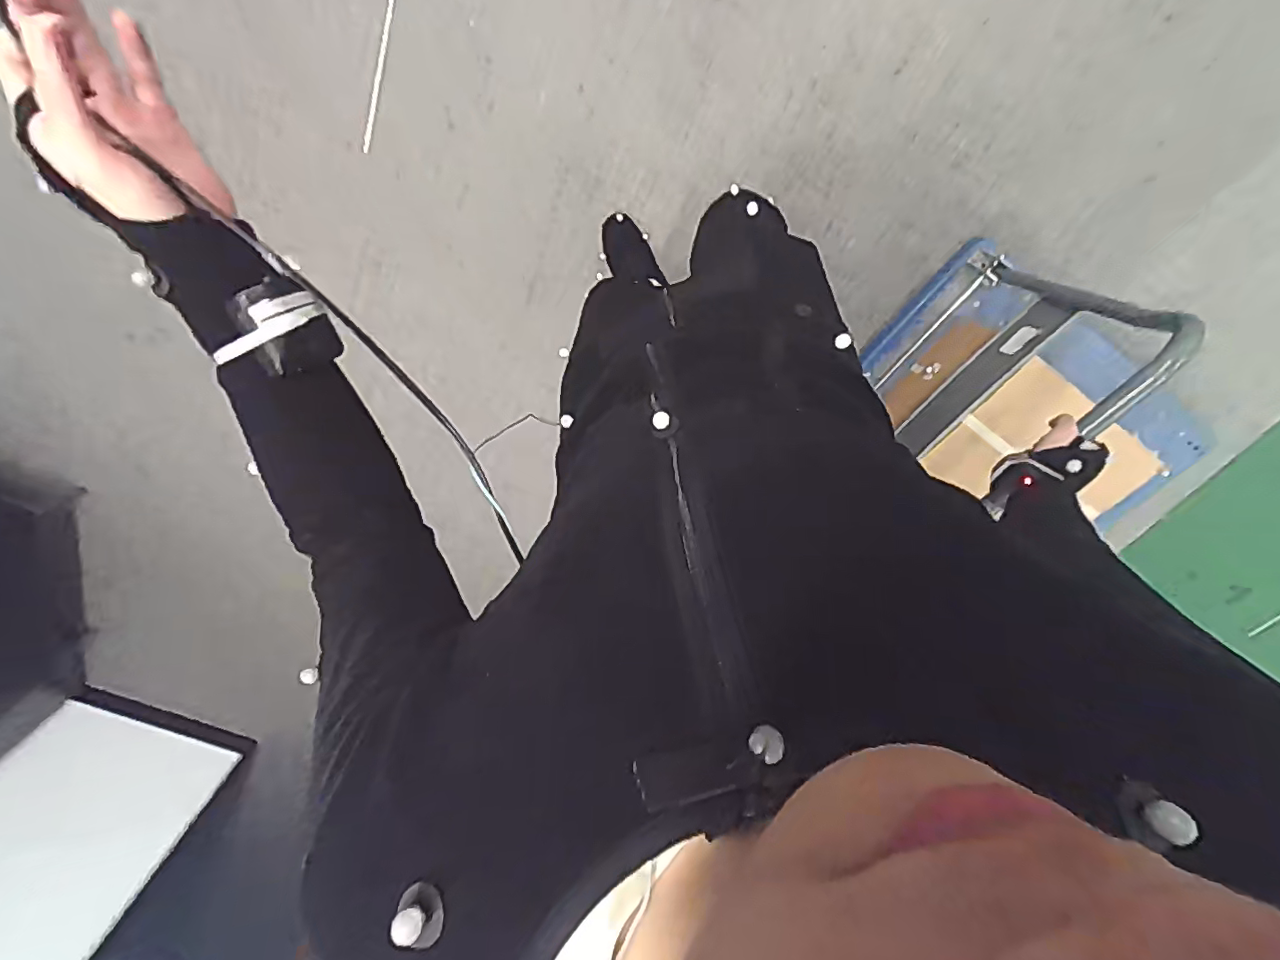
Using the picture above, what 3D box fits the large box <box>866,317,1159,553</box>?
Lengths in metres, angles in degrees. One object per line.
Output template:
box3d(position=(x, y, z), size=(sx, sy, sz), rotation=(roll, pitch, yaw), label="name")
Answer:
box3d(position=(0.815, -0.112, 1.247), size=(0.408, 0.320, 0.320), rotation=(32, 118, -13), label="large box")
